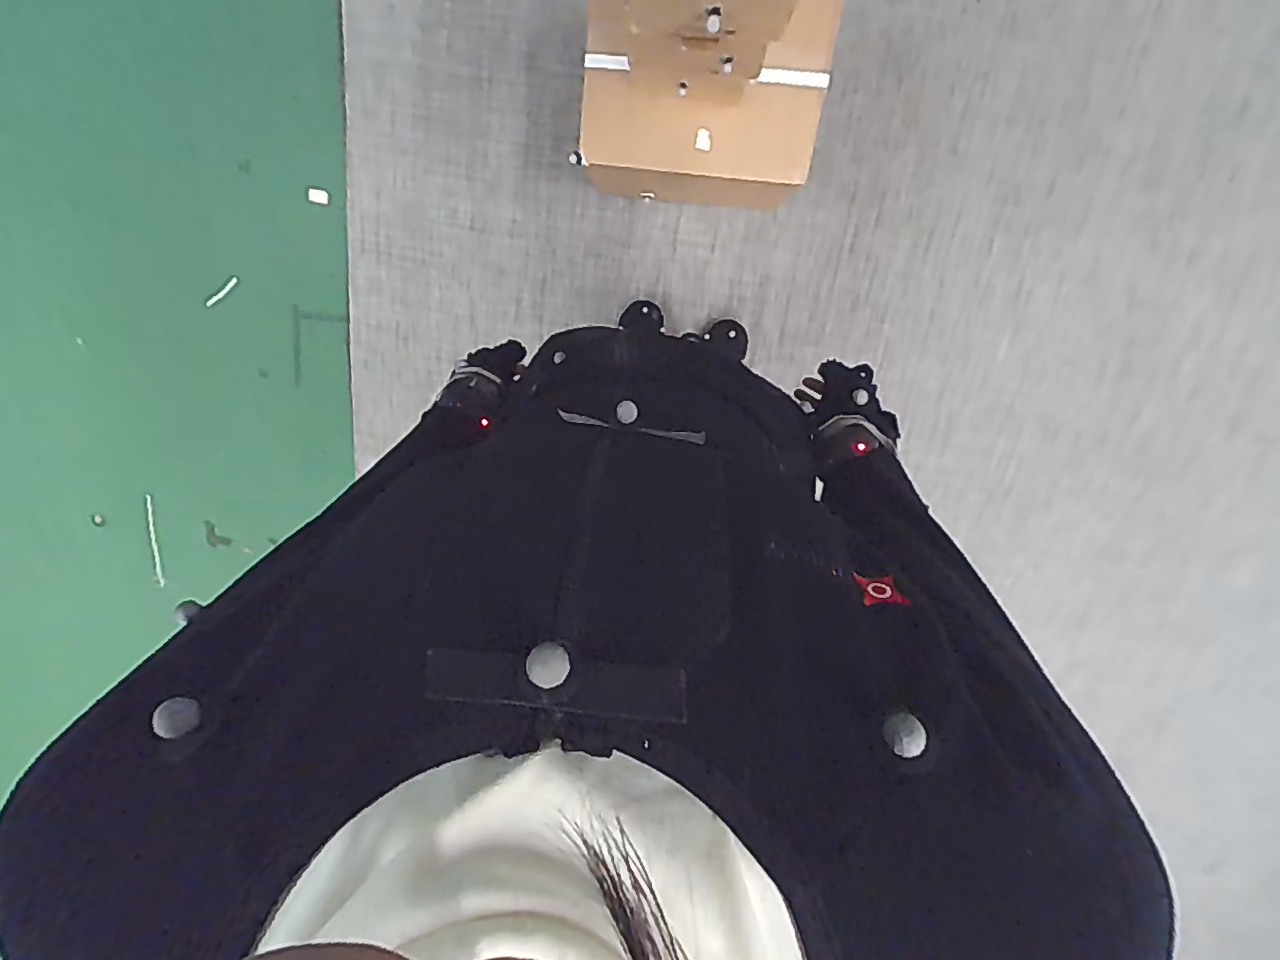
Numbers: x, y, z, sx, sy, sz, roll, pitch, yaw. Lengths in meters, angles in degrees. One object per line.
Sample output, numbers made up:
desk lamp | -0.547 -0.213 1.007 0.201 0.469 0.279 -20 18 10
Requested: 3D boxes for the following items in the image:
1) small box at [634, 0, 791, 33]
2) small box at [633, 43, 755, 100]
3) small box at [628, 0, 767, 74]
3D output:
small box | 0.077 -0.555 0.511 0.168 0.176 0.179 6 116 4
small box | 0.090 -0.688 0.808 0.179 0.176 0.168 7 116 3
small box | 0.080 -0.623 0.660 0.168 0.176 0.179 5 114 3
